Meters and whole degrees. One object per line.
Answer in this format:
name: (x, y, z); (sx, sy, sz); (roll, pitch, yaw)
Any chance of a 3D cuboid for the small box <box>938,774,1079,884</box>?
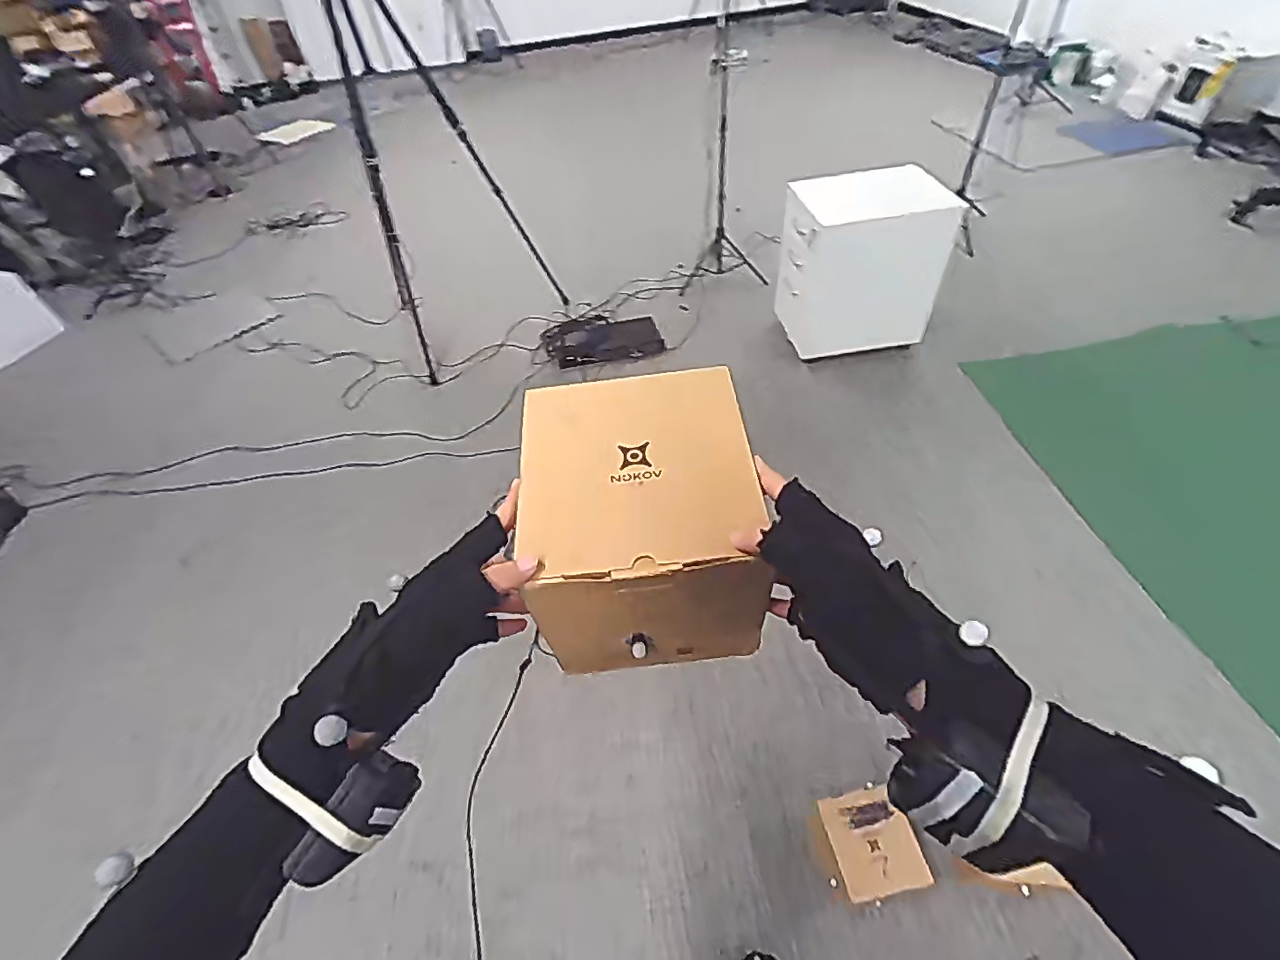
small box: (0.748, 0.732, 1.129); (0.179, 0.176, 0.168); (1, 50, 6)
